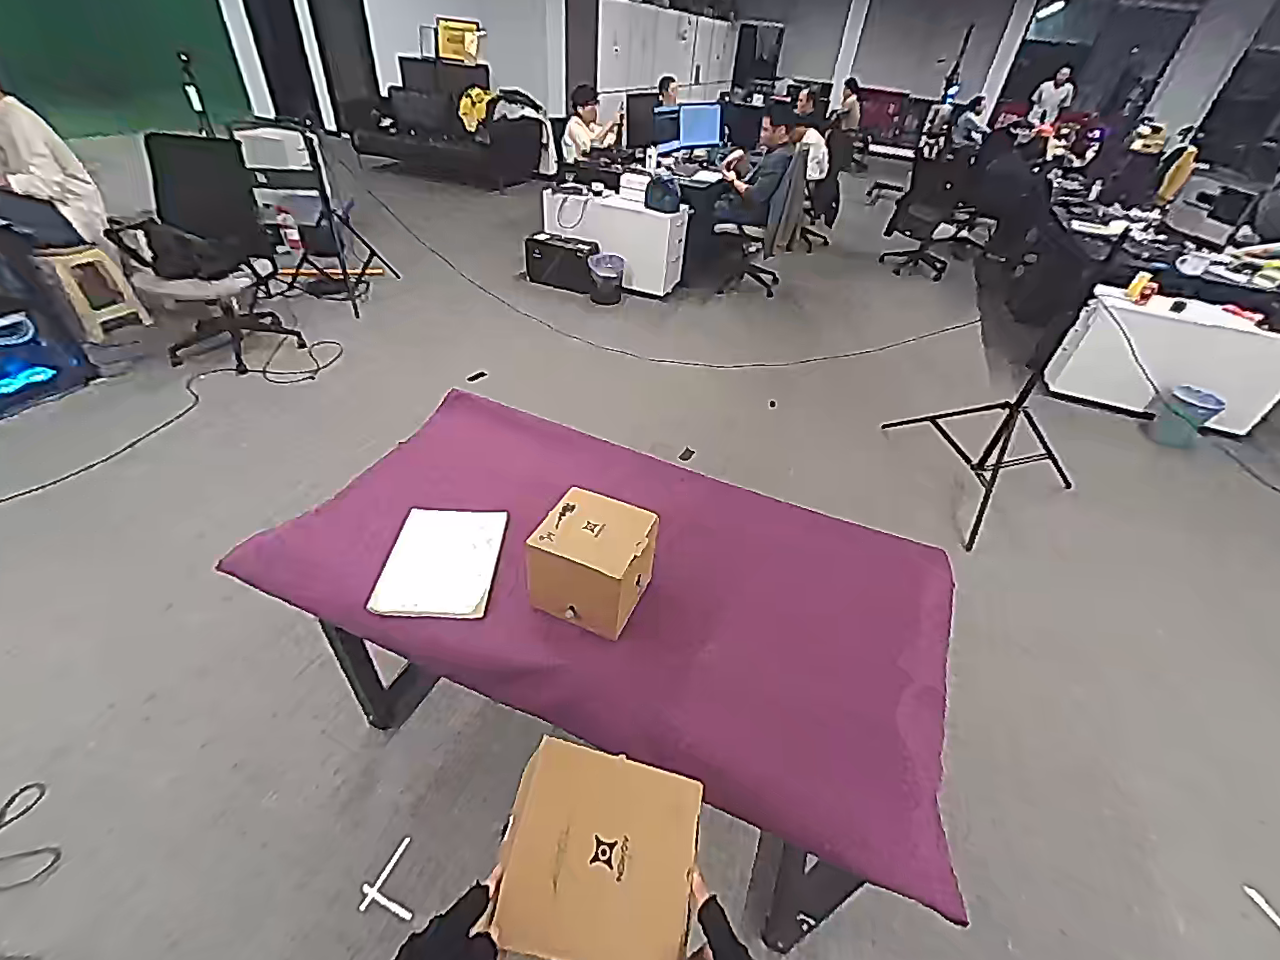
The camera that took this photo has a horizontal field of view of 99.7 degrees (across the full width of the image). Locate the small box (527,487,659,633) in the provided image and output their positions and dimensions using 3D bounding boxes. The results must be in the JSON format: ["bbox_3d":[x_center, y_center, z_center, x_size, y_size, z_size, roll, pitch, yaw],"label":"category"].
[{"bbox_3d":[-0.082,0.145,0.967,0.179,0.176,0.168,19,40,15],"label":"small box"}]

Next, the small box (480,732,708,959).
[{"bbox_3d":[-0.049,0.387,0.554,0.179,0.176,0.168,19,47,-5],"label":"small box"}]
